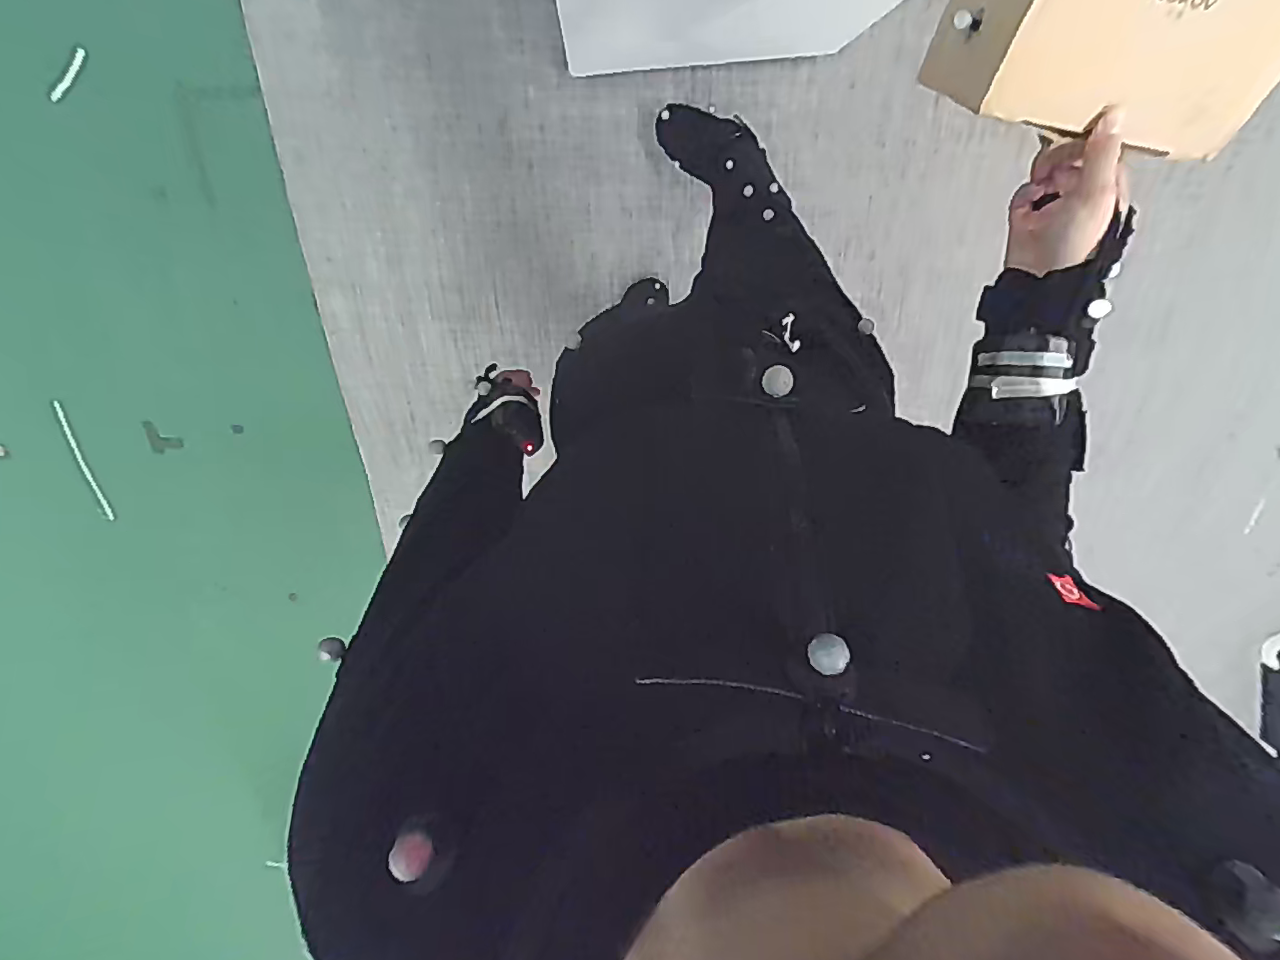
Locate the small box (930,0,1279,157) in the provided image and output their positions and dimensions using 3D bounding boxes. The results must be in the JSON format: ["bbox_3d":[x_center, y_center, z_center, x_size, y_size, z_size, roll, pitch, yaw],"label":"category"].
[{"bbox_3d":[0.320,-0.344,0.355,0.168,0.176,0.179,10,133,-1],"label":"small box"}]
